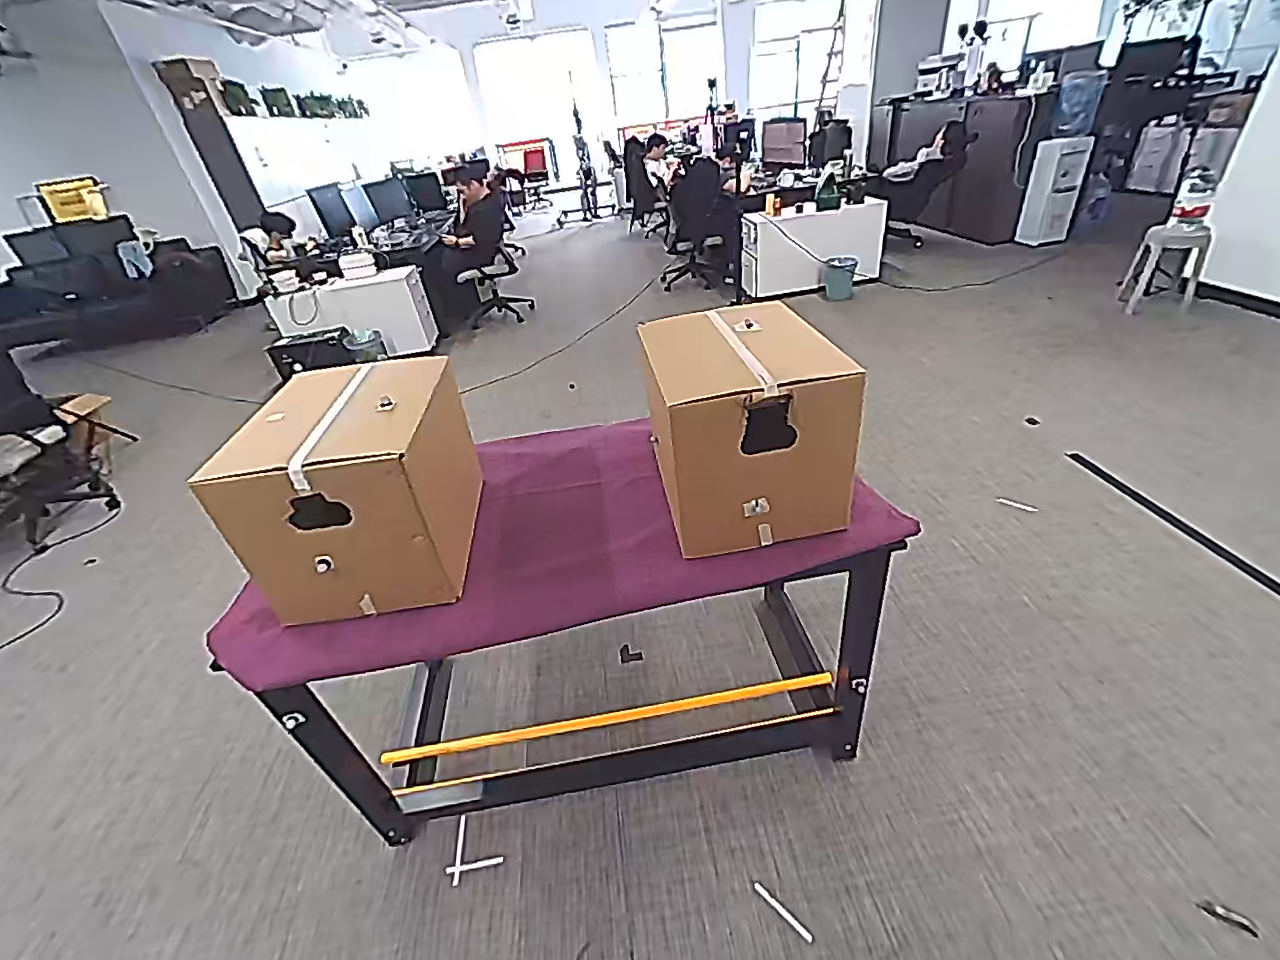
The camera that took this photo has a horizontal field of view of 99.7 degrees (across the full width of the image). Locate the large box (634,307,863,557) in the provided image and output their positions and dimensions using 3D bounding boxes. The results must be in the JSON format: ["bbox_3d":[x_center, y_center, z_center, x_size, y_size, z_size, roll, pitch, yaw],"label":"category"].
[{"bbox_3d":[0.184,-0.111,1.057,0.320,0.320,0.408,-10,33,-3],"label":"large box"}]
